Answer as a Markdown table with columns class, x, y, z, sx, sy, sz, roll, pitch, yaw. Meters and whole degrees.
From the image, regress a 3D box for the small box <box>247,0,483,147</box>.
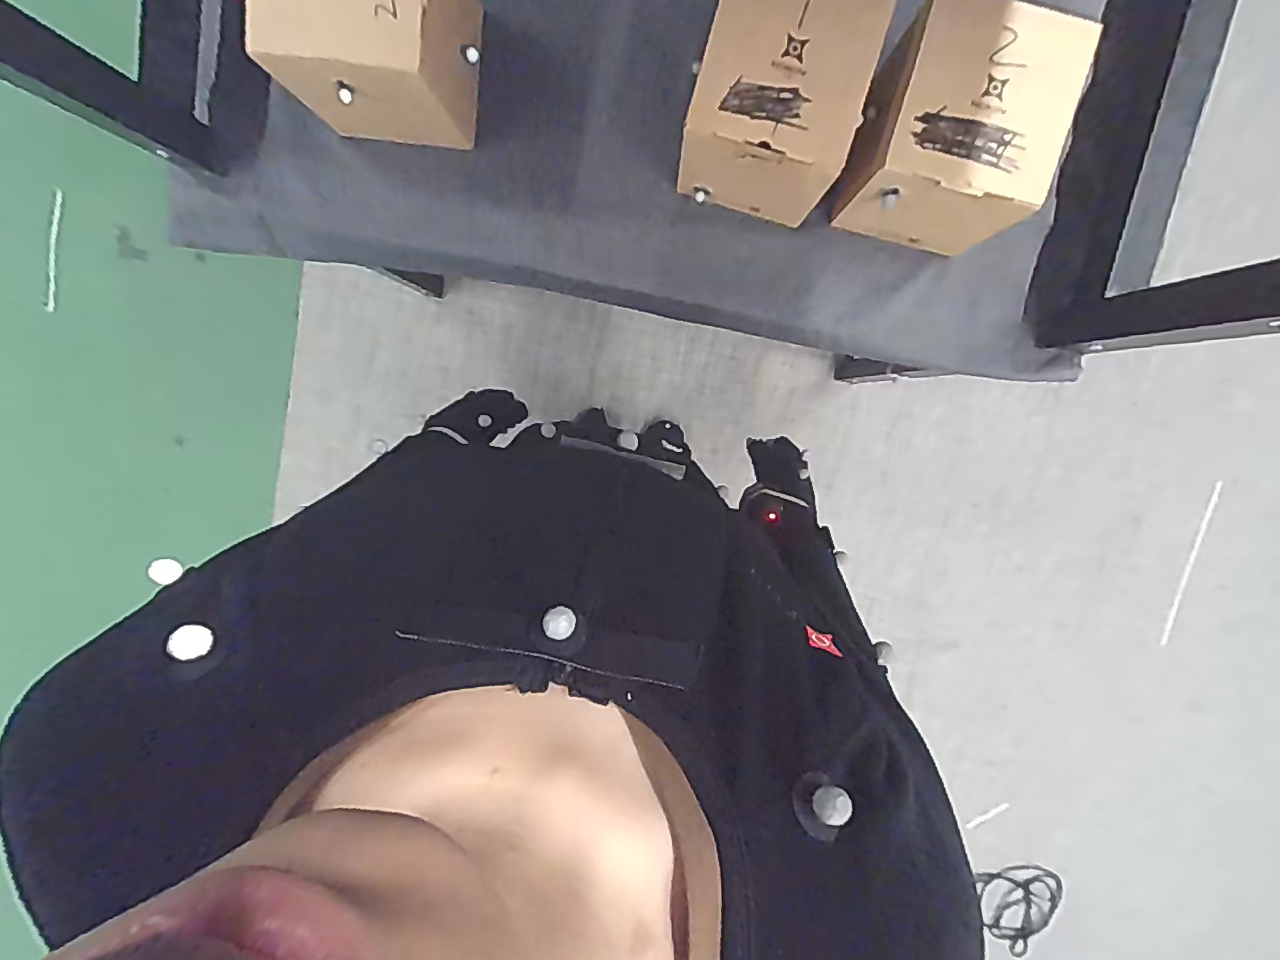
| class | x | y | z | sx | sy | sz | roll | pitch | yaw |
| --- | --- | --- | --- | --- | --- | --- | --- | --- | --- |
| small box | -0.292 | -0.502 | 0.603 | 0.179 | 0.176 | 0.168 | 7 | 99 | -1 |
